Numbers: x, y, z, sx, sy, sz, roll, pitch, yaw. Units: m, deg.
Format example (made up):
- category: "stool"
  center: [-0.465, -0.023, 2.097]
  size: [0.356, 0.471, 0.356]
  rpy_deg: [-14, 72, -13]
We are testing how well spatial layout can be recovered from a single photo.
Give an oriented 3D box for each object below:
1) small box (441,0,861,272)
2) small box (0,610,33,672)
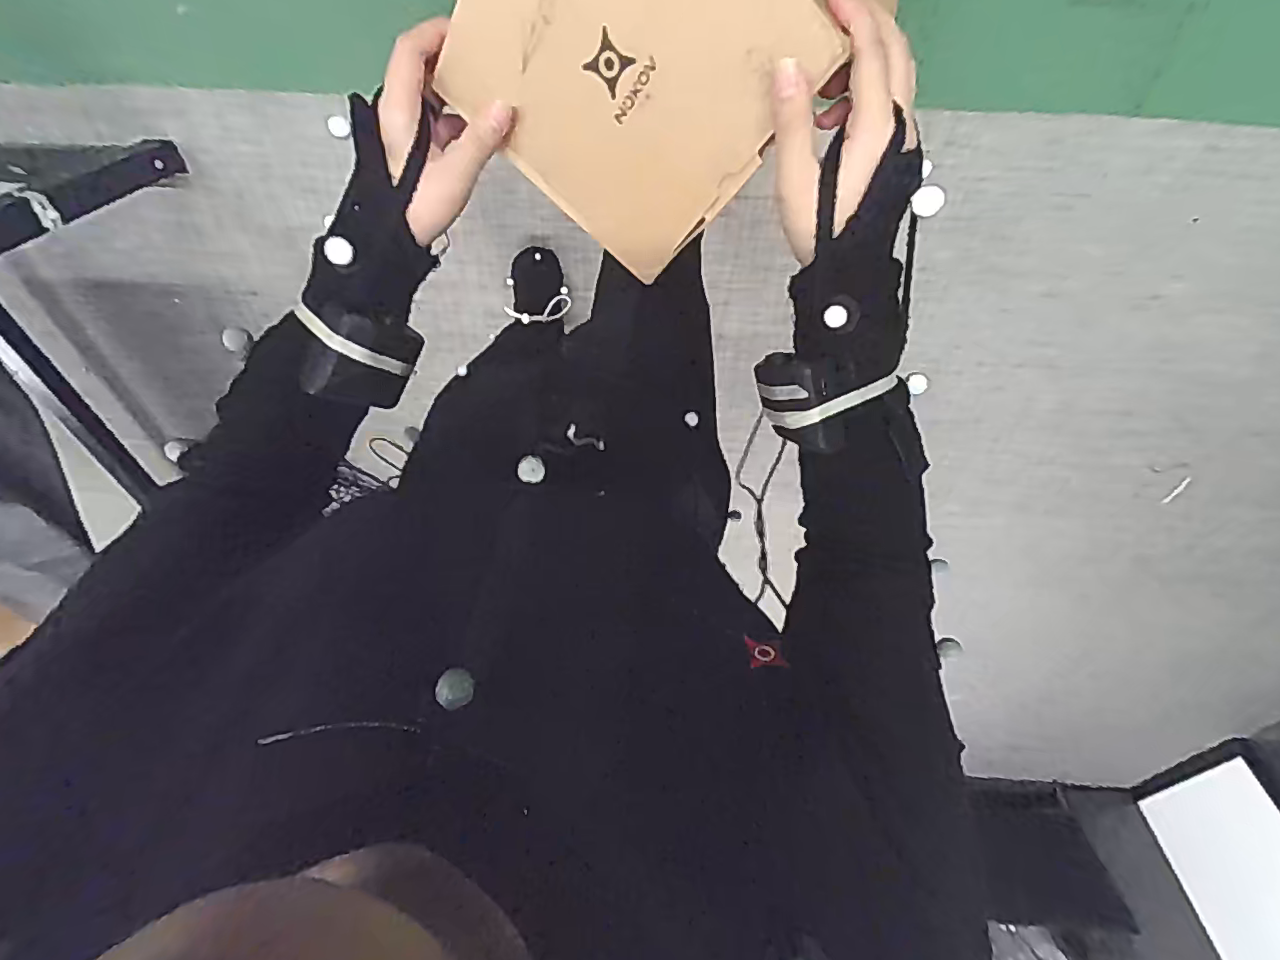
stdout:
- category: "small box"
  center: [0.018, -0.277, 0.338]
  size: [0.179, 0.176, 0.168]
  rpy_deg: [38, 135, -13]
- category: "small box"
  center: [-1.091, 0.249, 0.790]
  size: [0.168, 0.176, 0.179]
  rpy_deg: [1, 136, 3]
